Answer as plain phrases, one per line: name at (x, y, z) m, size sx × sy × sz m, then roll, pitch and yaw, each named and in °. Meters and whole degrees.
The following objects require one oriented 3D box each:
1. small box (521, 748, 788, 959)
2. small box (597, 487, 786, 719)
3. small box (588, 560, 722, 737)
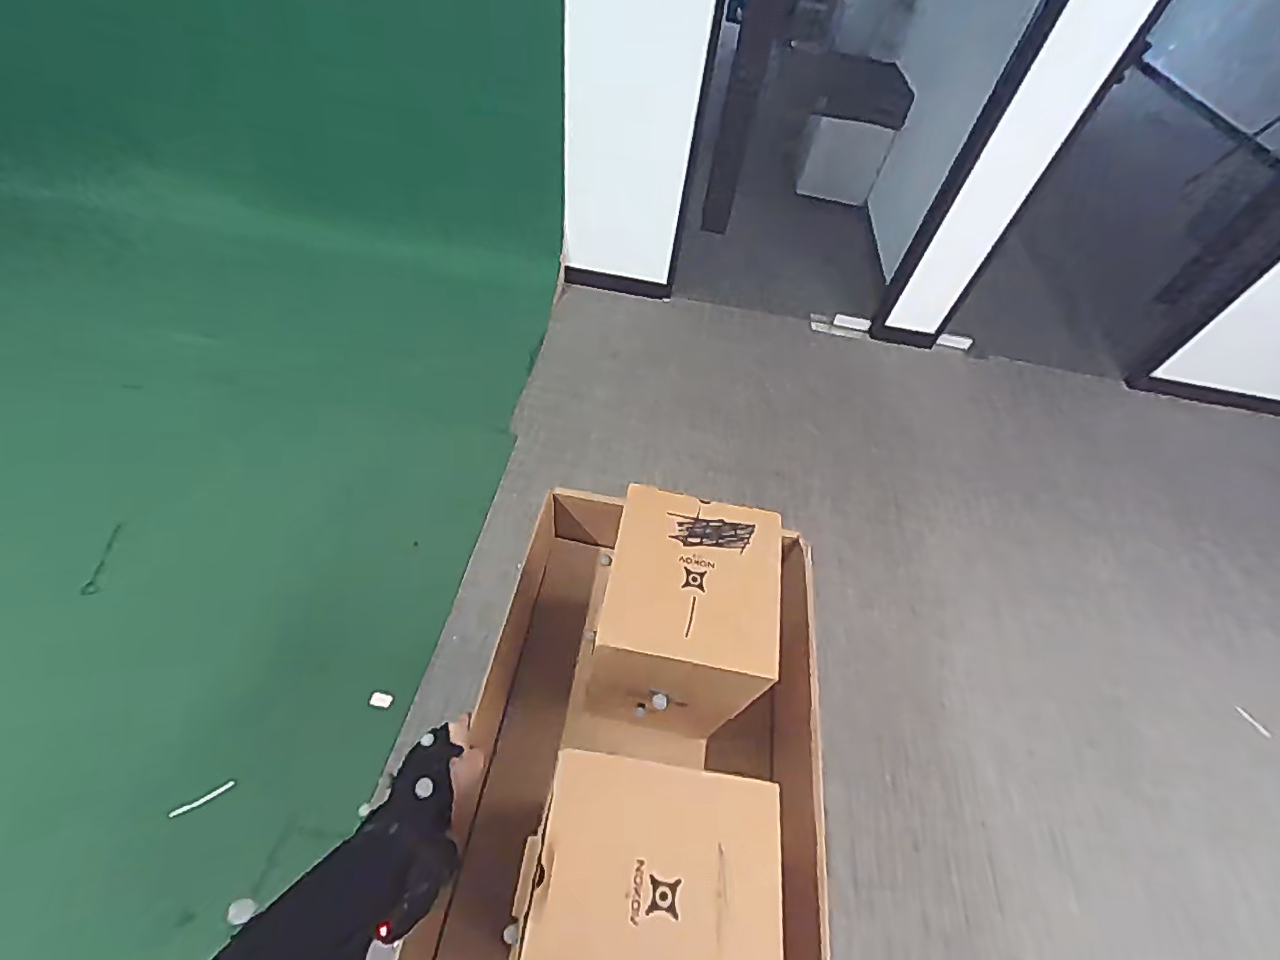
small box at (0.008, 0.335, 0.435) m, size 0.179 × 0.176 × 0.168 m, roll 10°, pitch 52°, yaw -1°
small box at (0.050, 0.138, 0.585) m, size 0.168 × 0.176 × 0.179 m, roll 12°, pitch 55°, yaw 1°
small box at (0.033, 0.229, 0.721) m, size 0.179 × 0.176 × 0.168 m, roll 12°, pitch 55°, yaw 2°
